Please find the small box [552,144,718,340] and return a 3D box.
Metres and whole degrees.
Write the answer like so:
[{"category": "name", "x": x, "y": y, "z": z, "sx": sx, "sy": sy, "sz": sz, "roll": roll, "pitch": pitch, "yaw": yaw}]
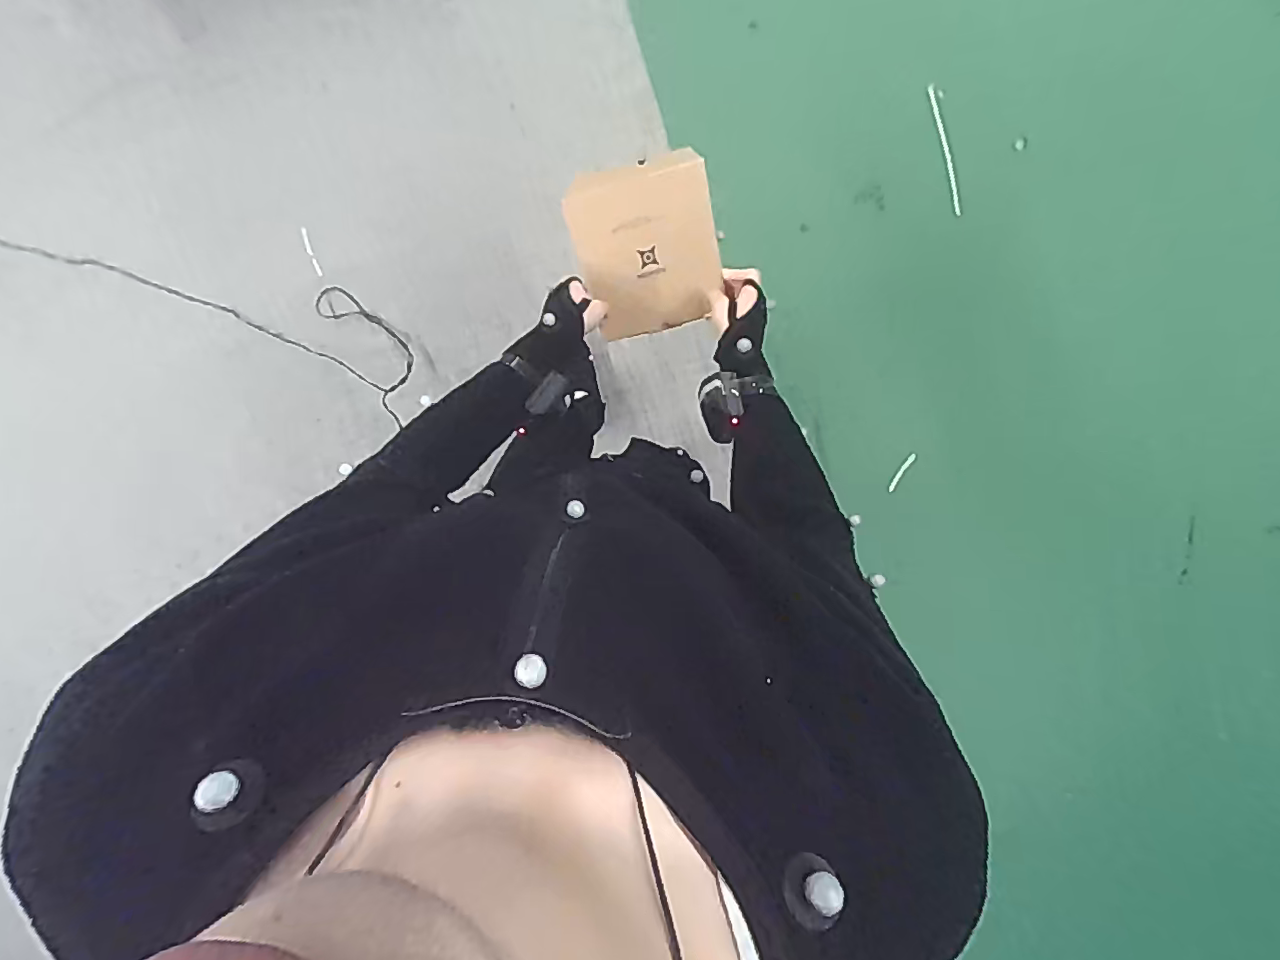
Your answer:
[{"category": "small box", "x": -0.002, "y": -0.309, "z": 0.698, "sx": 0.168, "sy": 0.176, "sz": 0.179, "roll": -13, "pitch": 125, "yaw": 6}]
